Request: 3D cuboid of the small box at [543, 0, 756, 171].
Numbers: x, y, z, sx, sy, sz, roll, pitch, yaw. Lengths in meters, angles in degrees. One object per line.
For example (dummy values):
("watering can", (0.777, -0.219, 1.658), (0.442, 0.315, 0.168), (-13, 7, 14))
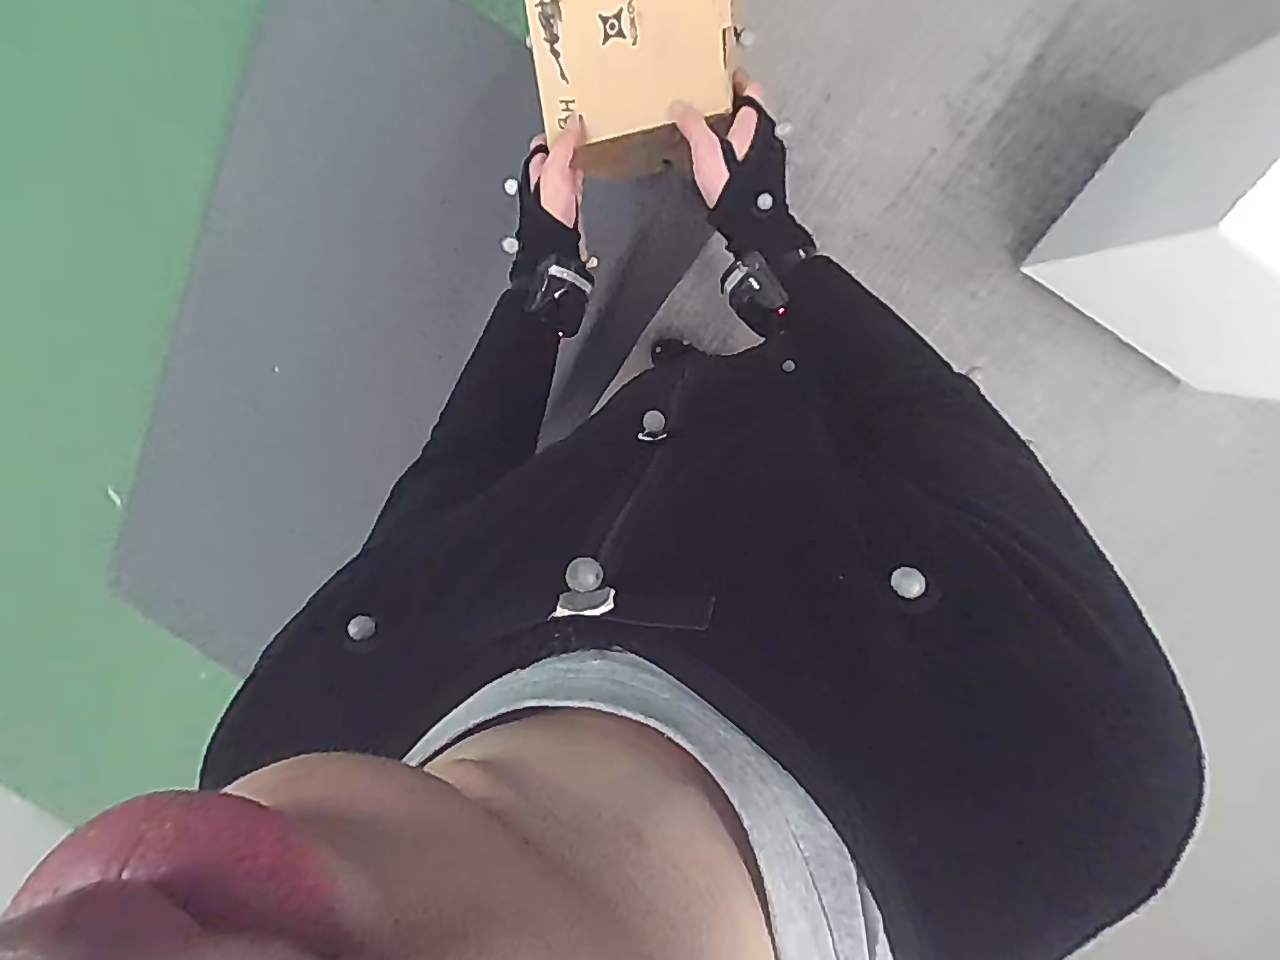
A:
("small box", (0.022, -0.416, 0.525), (0.179, 0.176, 0.168), (-1, 110, 16))
